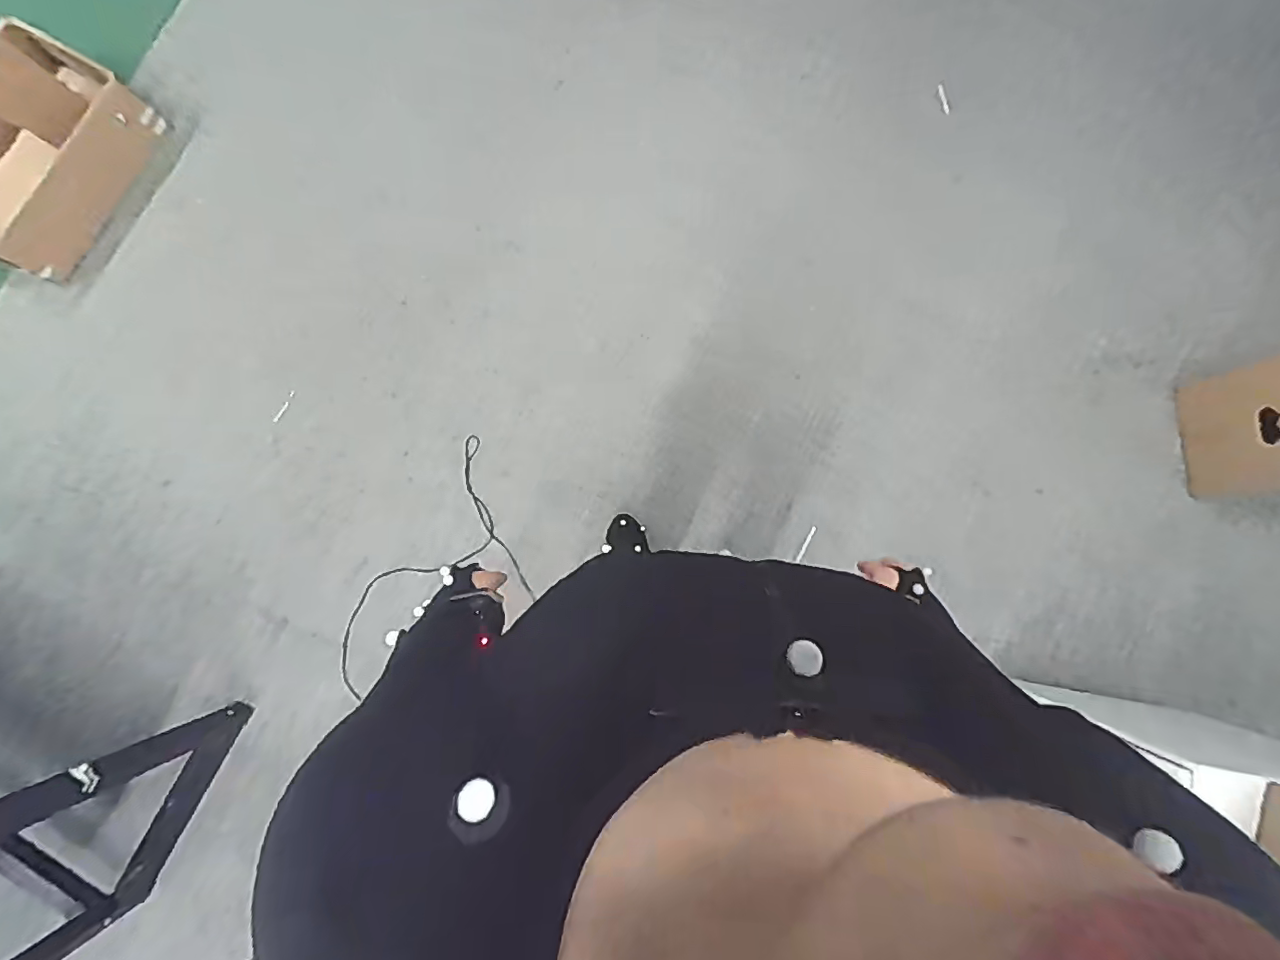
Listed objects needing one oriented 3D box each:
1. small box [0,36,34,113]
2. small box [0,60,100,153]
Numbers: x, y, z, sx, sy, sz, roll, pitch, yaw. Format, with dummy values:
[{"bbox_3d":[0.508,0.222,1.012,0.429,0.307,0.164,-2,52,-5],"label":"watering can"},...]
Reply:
[{"bbox_3d":[-1.723,-1.093,1.371,0.168,0.176,0.179,37,87,4],"label":"small box"},{"bbox_3d":[-1.723,-1.081,1.535,0.179,0.176,0.168,37,87,3],"label":"small box"}]
